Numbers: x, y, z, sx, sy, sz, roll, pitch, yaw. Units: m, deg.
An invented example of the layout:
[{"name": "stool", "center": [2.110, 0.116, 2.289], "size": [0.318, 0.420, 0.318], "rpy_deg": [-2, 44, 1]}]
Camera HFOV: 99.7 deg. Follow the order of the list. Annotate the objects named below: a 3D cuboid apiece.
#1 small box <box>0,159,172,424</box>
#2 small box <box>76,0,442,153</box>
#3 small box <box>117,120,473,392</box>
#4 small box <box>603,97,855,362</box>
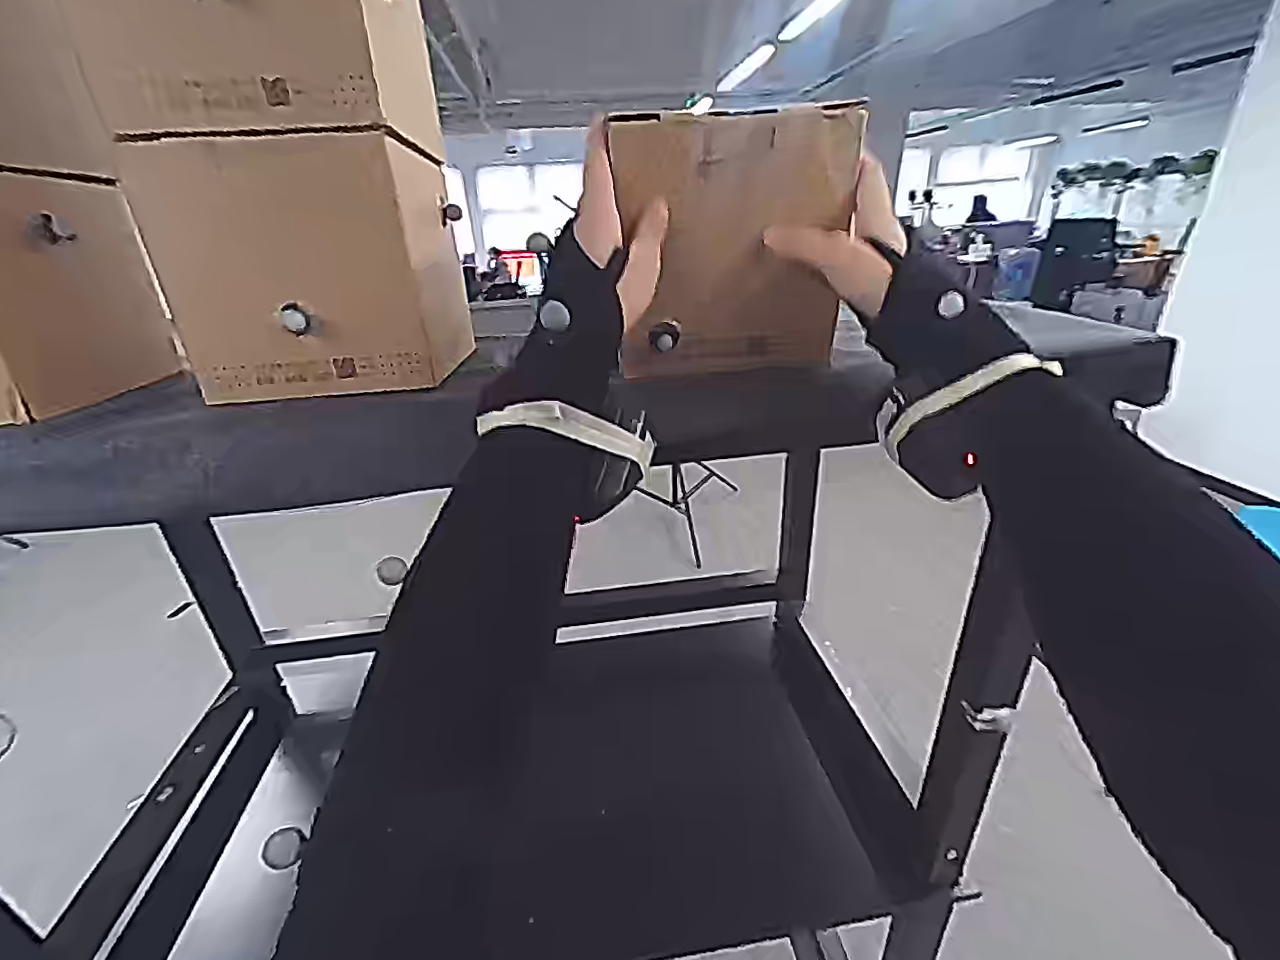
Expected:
[{"name": "small box", "center": [-0.512, -0.144, 0.413], "size": [0.168, 0.176, 0.179], "rpy_deg": [-5, 24, -7]}, {"name": "small box", "center": [-0.250, -0.325, 0.375], "size": [0.168, 0.176, 0.179], "rpy_deg": [-5, 24, -5]}, {"name": "small box", "center": [-0.242, -0.174, 0.440], "size": [0.168, 0.176, 0.179], "rpy_deg": [-6, 24, -4]}, {"name": "small box", "center": [0.059, -0.196, 0.452], "size": [0.168, 0.176, 0.179], "rpy_deg": [-5, 24, -3]}]
